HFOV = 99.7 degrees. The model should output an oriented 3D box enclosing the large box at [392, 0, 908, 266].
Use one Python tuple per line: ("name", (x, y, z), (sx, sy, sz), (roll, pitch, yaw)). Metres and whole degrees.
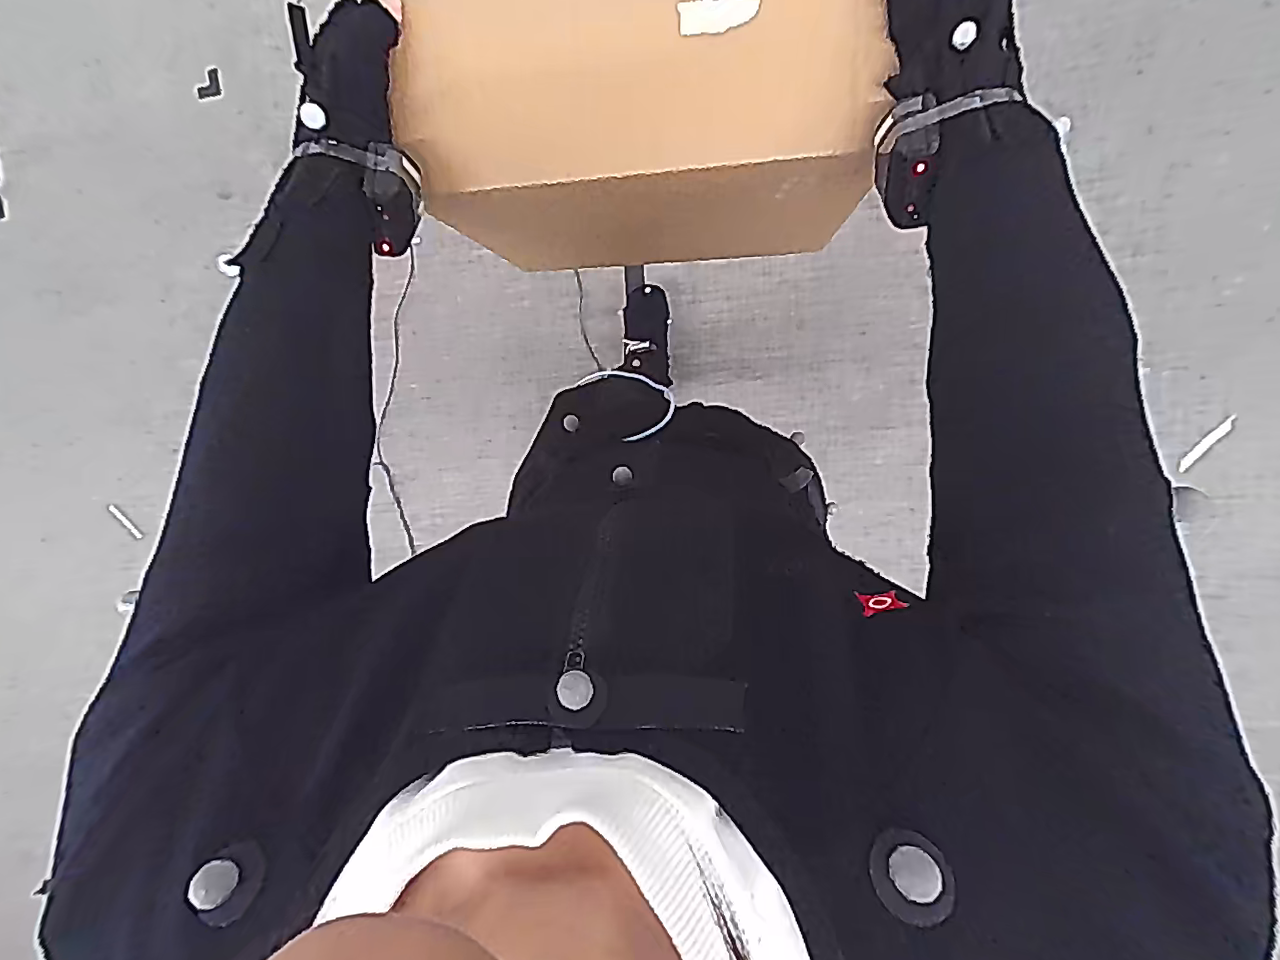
("large box", (0.012, -0.430, 0.556), (0.408, 0.320, 0.320), (-2, 100, 7))
